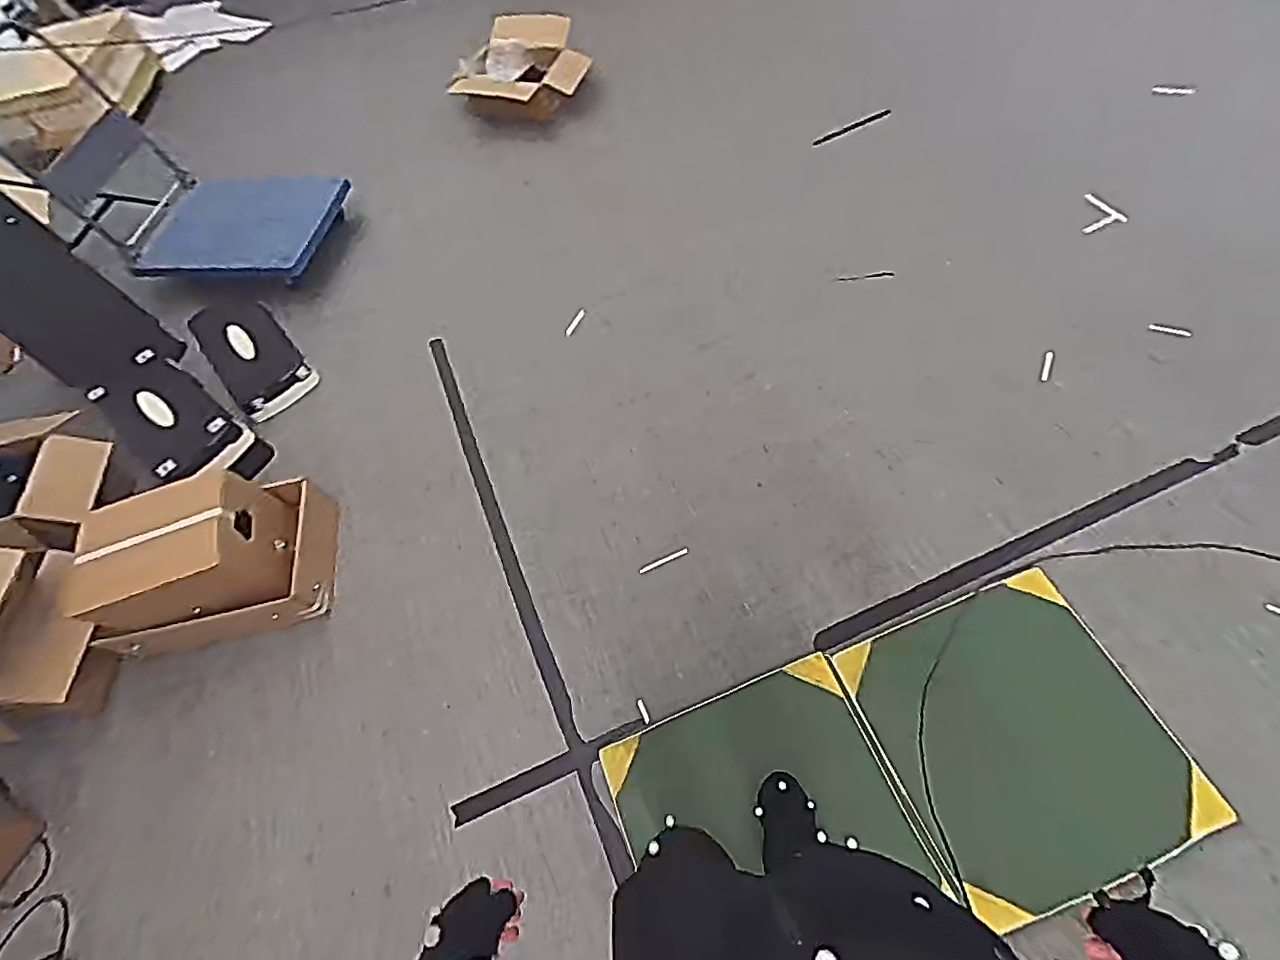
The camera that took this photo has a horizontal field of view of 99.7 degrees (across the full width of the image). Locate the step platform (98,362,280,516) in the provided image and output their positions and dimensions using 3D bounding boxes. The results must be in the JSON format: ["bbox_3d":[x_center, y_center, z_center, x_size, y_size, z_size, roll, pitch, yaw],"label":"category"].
[{"bbox_3d":[-1.641,-0.164,1.960,0.684,0.204,0.286,32,71,22],"label":"step platform"}]
